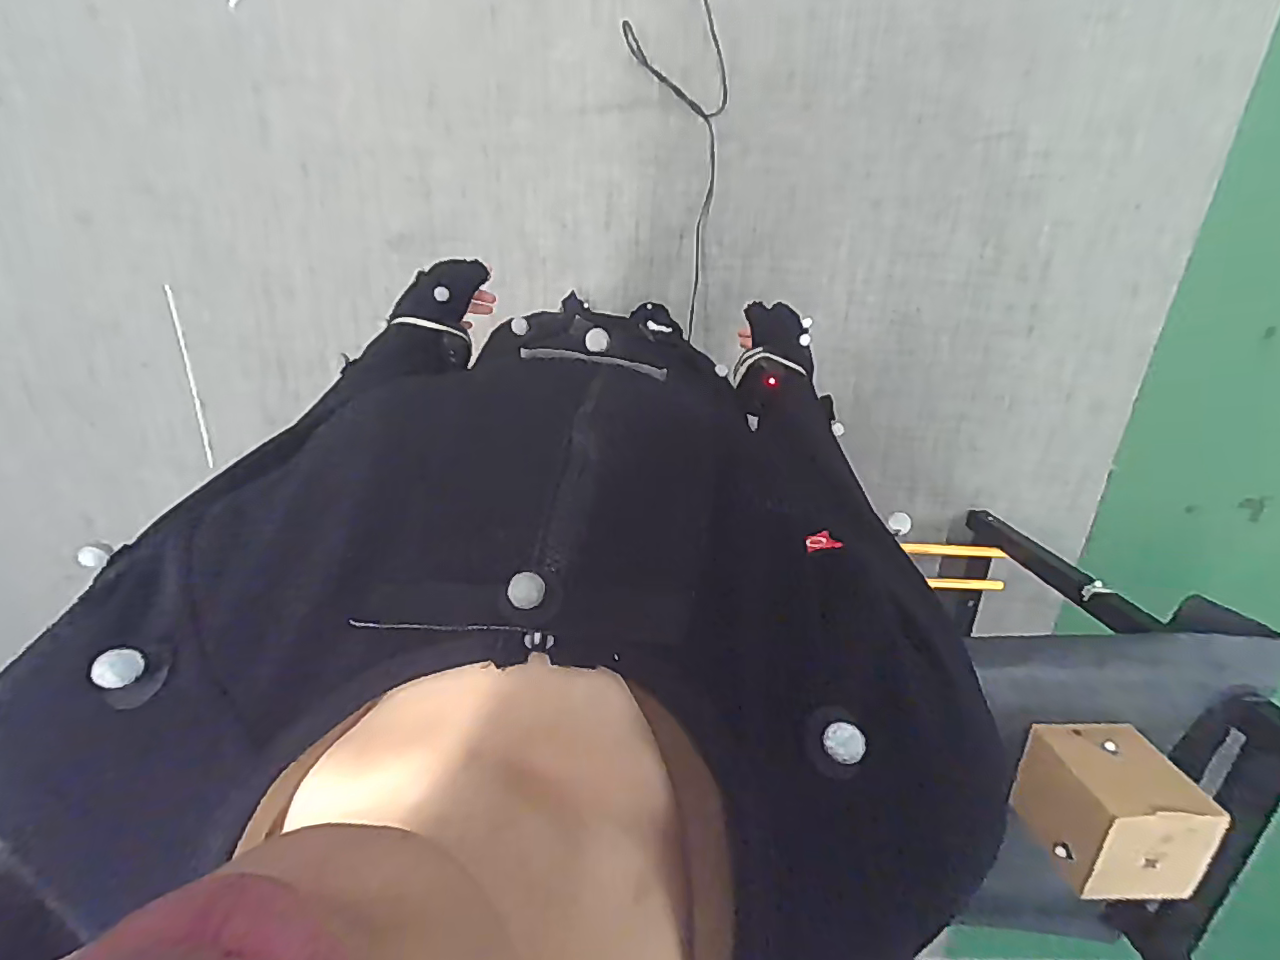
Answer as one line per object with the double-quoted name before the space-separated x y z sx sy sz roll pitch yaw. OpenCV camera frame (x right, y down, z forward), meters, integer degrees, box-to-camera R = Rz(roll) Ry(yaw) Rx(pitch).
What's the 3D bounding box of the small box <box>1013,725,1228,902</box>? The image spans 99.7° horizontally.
"small box" 0.731 0.517 0.849 0.168 0.176 0.179 0 109 -1
